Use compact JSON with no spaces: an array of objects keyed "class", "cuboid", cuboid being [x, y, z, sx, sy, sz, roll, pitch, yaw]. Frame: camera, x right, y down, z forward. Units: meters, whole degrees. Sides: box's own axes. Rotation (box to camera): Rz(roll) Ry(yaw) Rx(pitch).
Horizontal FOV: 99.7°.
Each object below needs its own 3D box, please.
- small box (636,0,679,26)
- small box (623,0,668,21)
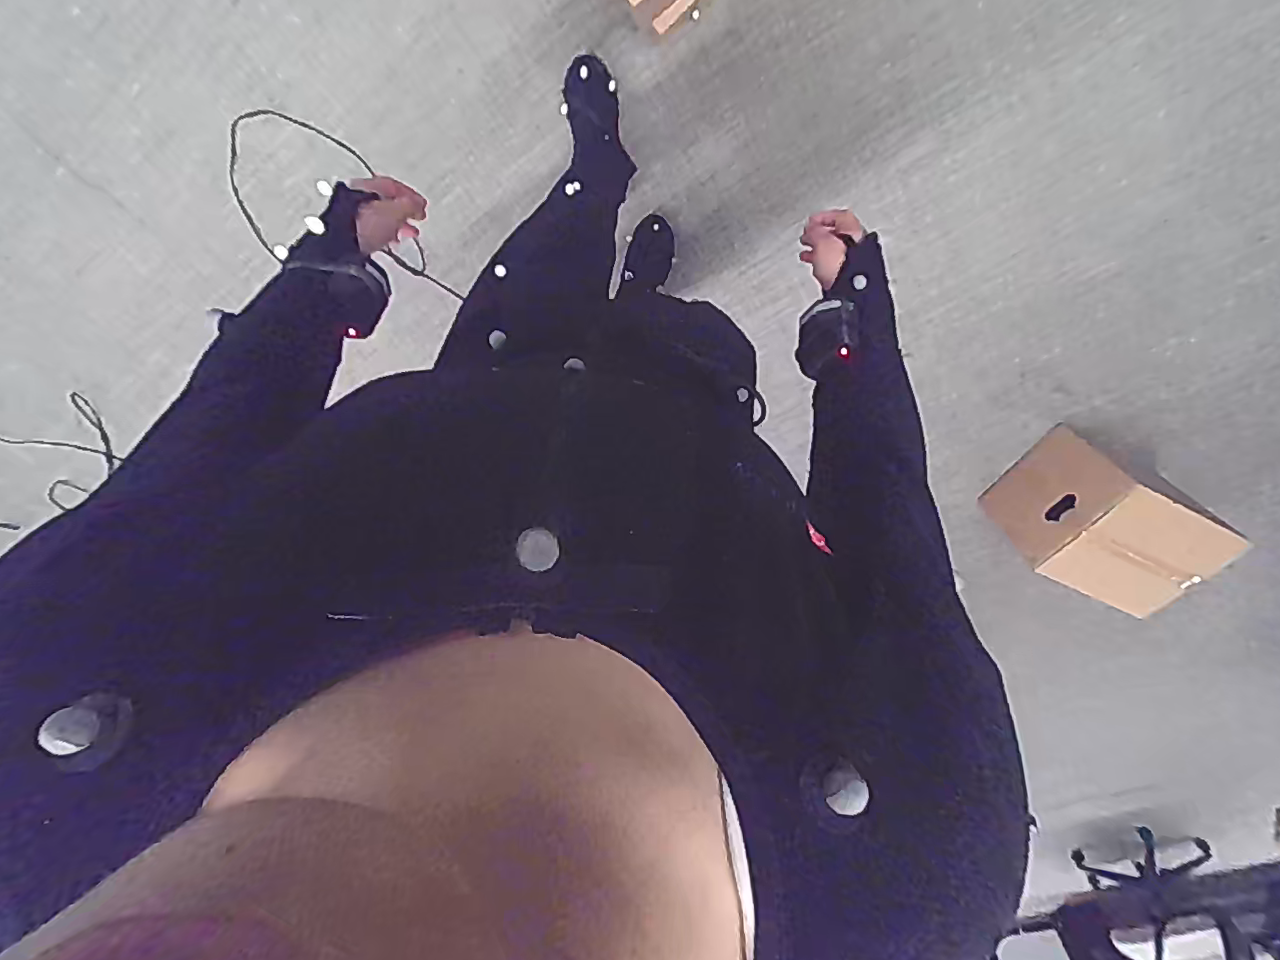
[{"class":"small box","cuboid":[0.028,-0.827,0.804,0.179,0.176,0.168,-28,118,21]},{"class":"small box","cuboid":[0.023,-0.727,0.674,0.179,0.176,0.168,-29,118,19]}]
